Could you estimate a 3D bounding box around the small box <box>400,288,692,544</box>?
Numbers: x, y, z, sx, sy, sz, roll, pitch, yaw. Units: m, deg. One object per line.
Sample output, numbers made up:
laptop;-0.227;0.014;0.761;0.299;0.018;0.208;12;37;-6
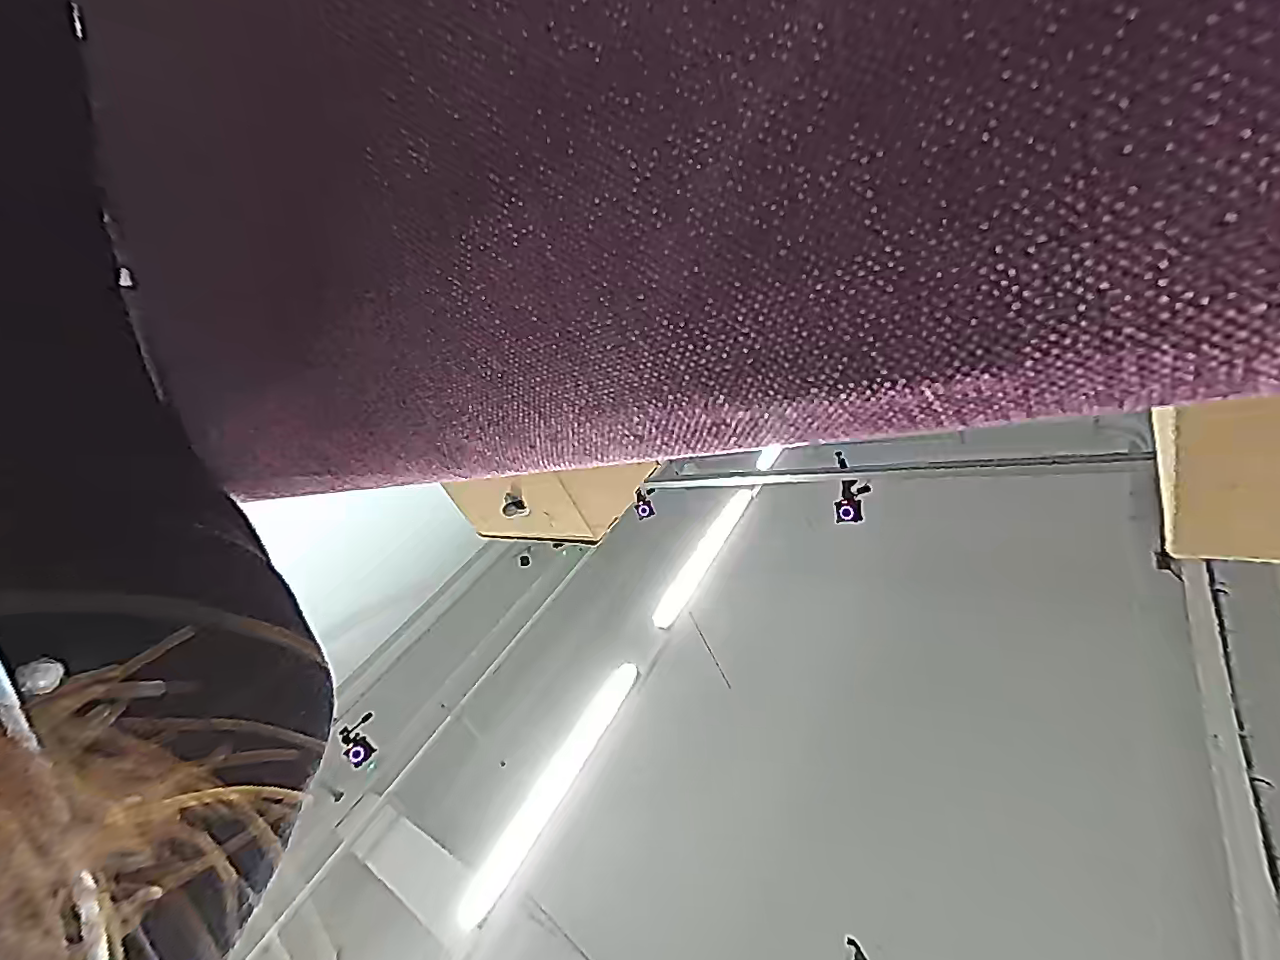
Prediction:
small box;-0.086;-0.058;0.507;0.179;0.176;0.168;-3;-145;41
